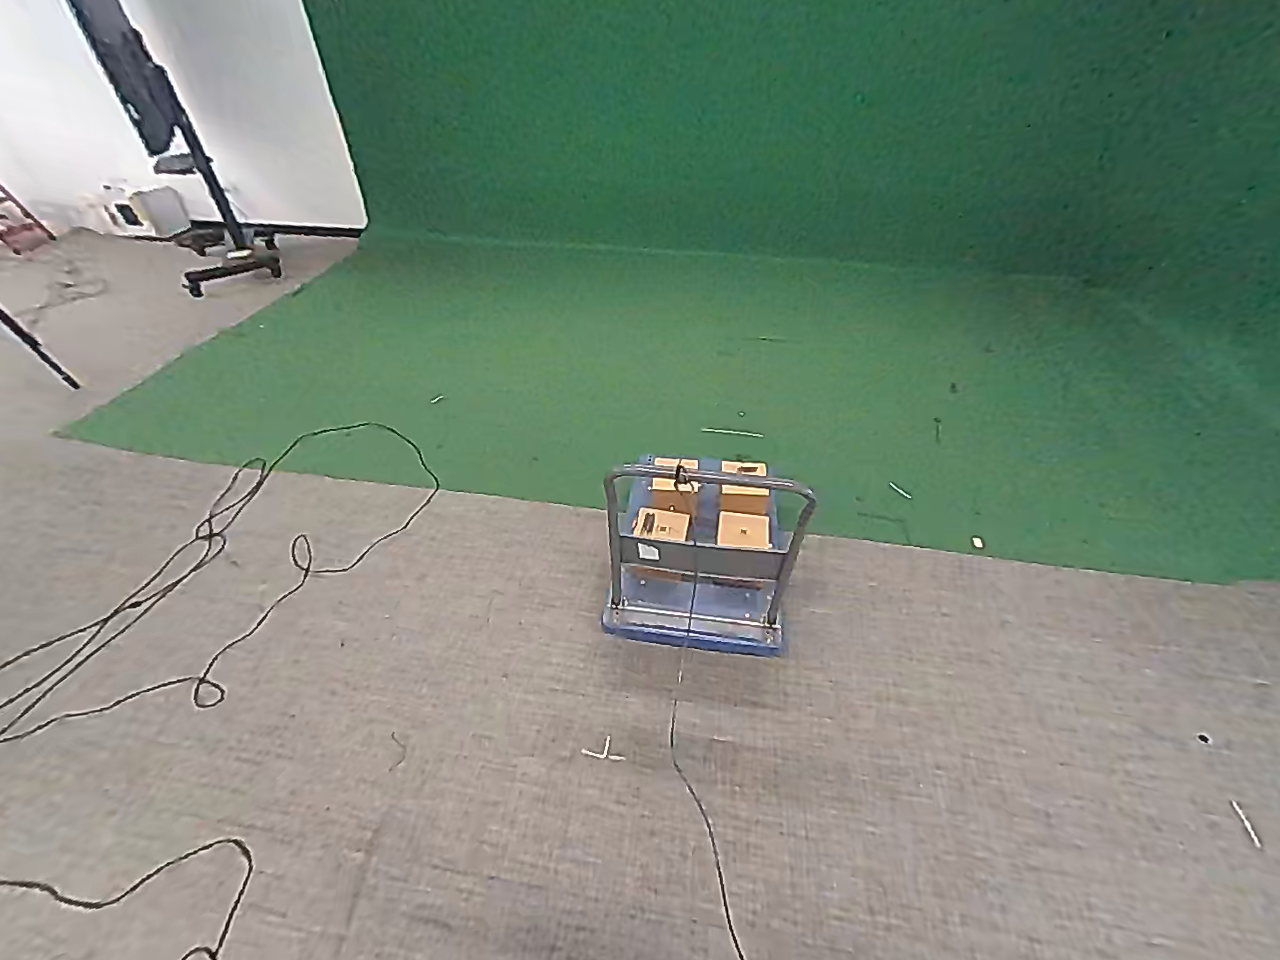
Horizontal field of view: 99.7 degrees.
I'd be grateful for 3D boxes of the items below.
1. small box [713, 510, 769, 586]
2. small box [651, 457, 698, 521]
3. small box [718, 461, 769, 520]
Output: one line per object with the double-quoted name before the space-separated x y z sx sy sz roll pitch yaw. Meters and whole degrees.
"small box" 0.339 0.230 1.827 0.168 0.176 0.179 7 44 7
"small box" 0.131 0.035 2.039 0.168 0.176 0.179 4 43 3
"small box" 0.381 0.050 2.023 0.168 0.176 0.179 3 44 4
